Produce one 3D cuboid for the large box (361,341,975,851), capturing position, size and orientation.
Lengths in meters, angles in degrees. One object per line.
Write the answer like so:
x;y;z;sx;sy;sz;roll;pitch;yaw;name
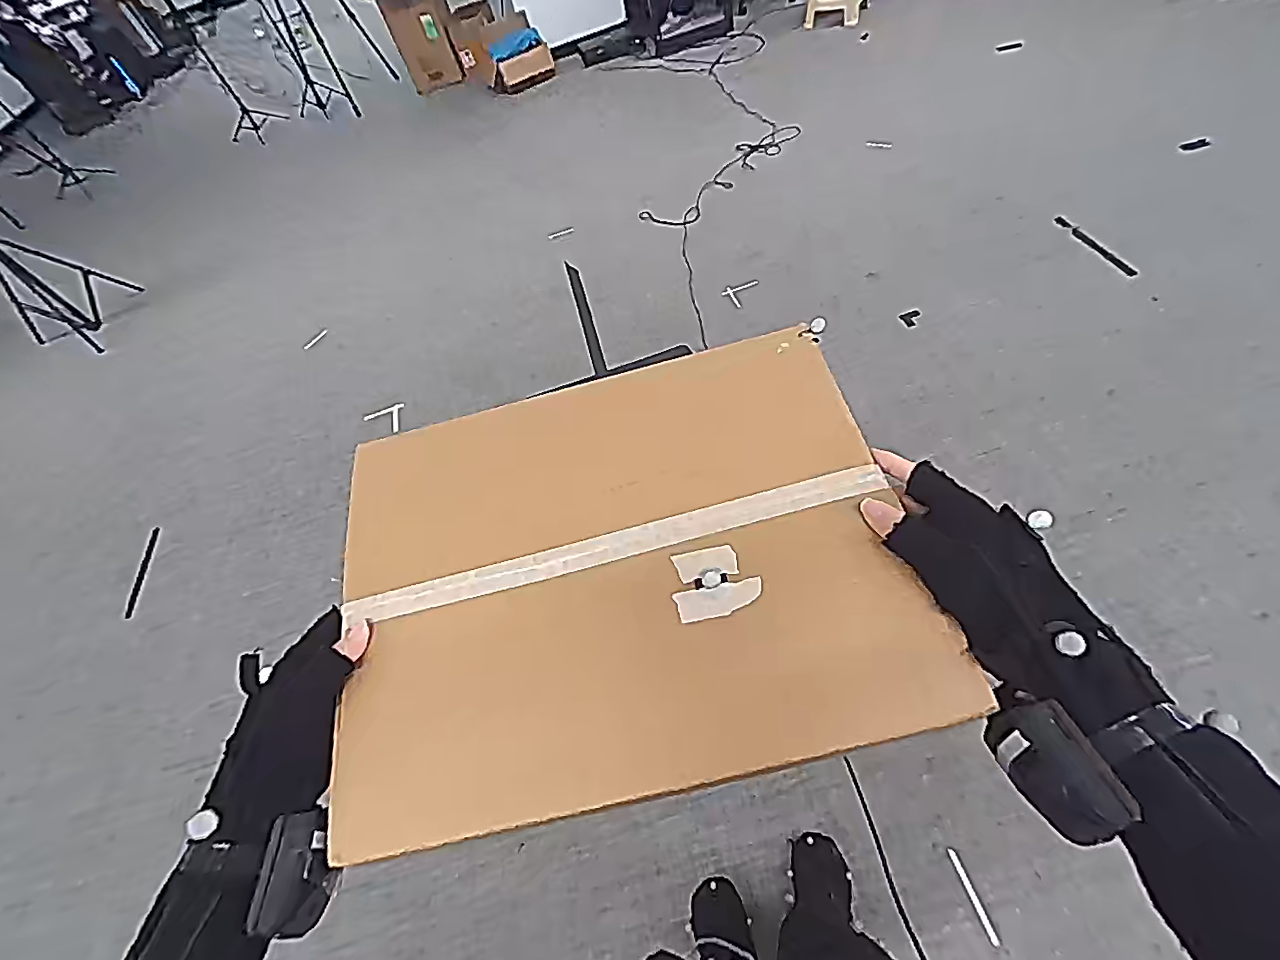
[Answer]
0.006;0.126;0.536;0.408;0.320;0.320;-15;61;2;large box
